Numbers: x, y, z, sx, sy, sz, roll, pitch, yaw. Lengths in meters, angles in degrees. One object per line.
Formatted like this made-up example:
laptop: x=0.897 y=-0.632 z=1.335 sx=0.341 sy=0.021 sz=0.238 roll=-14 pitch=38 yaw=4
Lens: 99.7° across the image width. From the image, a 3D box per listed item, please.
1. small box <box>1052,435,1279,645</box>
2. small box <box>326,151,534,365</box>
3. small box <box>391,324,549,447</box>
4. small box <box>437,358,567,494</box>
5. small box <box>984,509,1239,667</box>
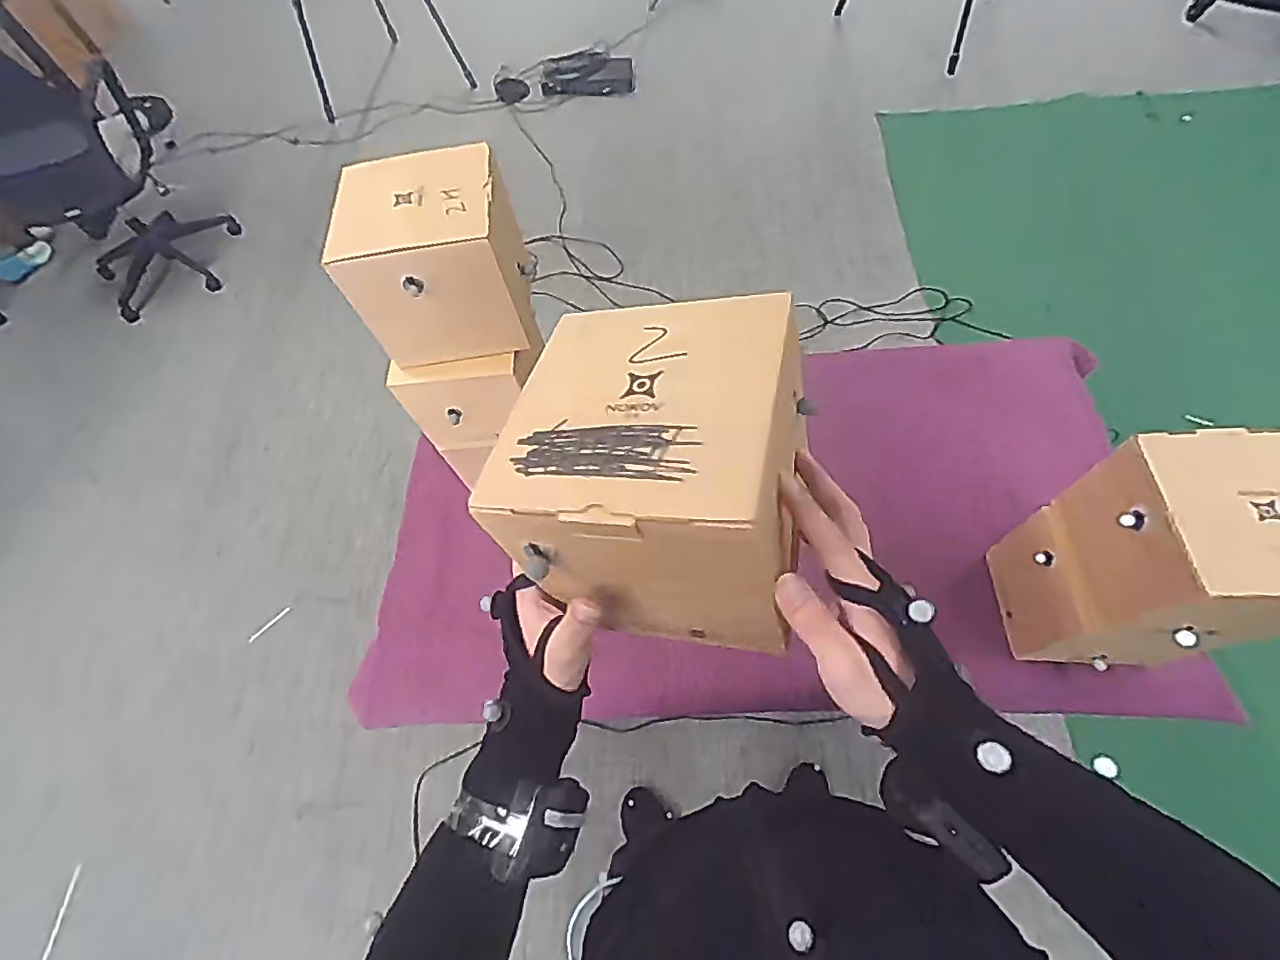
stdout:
small box: x=0.595 y=0.069 z=0.585 sx=0.168 sy=0.176 sz=0.179 roll=0 pitch=62 yaw=8
small box: x=-0.237 y=-0.259 z=0.657 sx=0.179 sy=0.176 sz=0.168 roll=-8 pitch=62 yaw=1
small box: x=-0.234 y=-0.159 z=0.790 sx=0.168 sy=0.176 sz=0.179 roll=-5 pitch=61 yaw=3
small box: x=-0.225 y=-0.088 z=0.935 sx=0.179 sy=0.176 sz=0.168 roll=-6 pitch=62 yaw=3
small box: x=0.607 y=0.150 z=0.726 sx=0.179 sy=0.176 sz=0.168 roll=1 pitch=61 yaw=6
